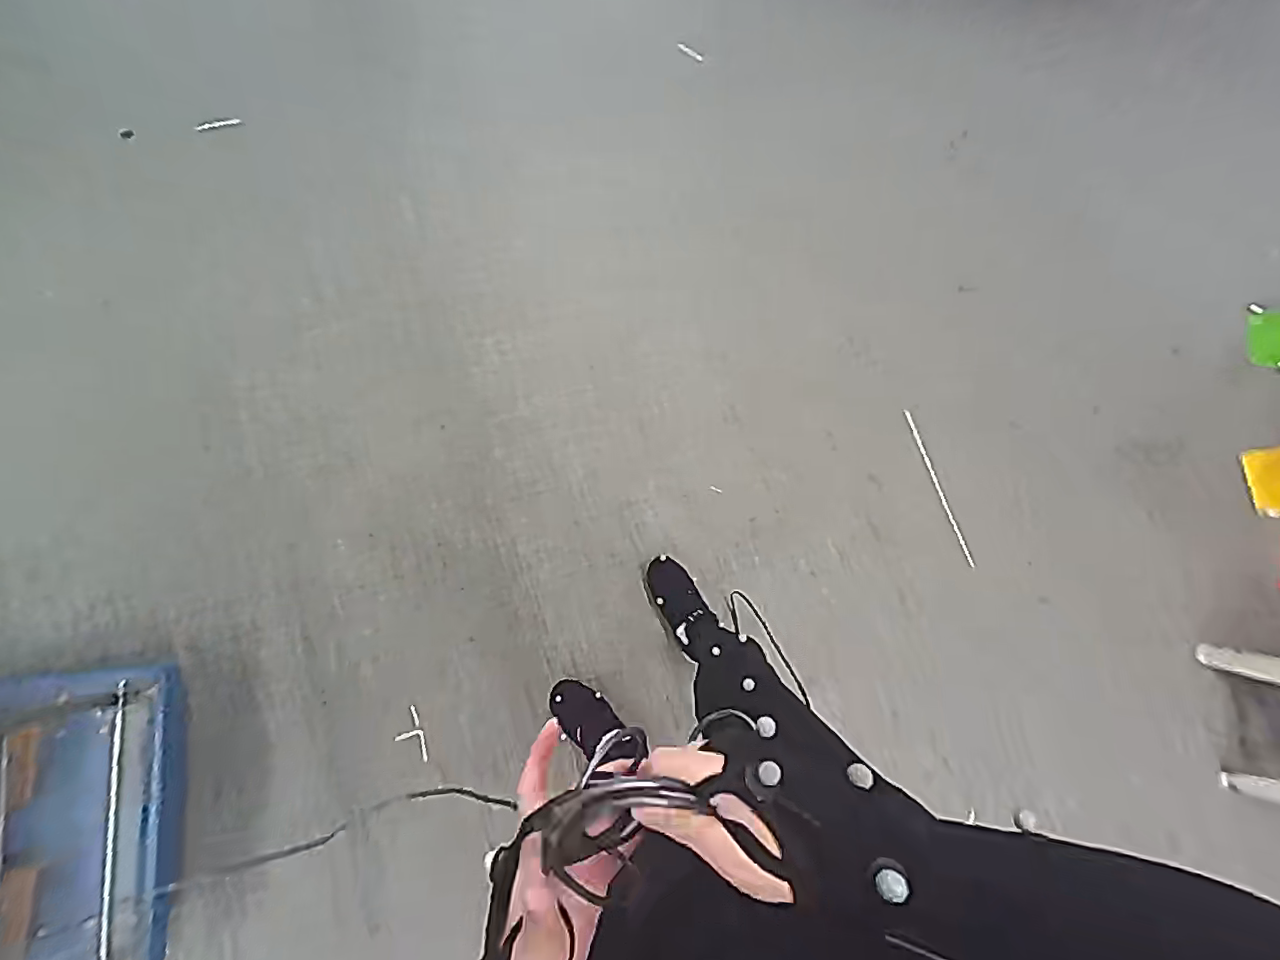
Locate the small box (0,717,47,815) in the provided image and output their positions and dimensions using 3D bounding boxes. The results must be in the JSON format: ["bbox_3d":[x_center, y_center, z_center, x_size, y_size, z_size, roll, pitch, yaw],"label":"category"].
[{"bbox_3d":[-1.253,0.538,0.974,0.179,0.176,0.168,-3,80,-7],"label":"small box"}]
